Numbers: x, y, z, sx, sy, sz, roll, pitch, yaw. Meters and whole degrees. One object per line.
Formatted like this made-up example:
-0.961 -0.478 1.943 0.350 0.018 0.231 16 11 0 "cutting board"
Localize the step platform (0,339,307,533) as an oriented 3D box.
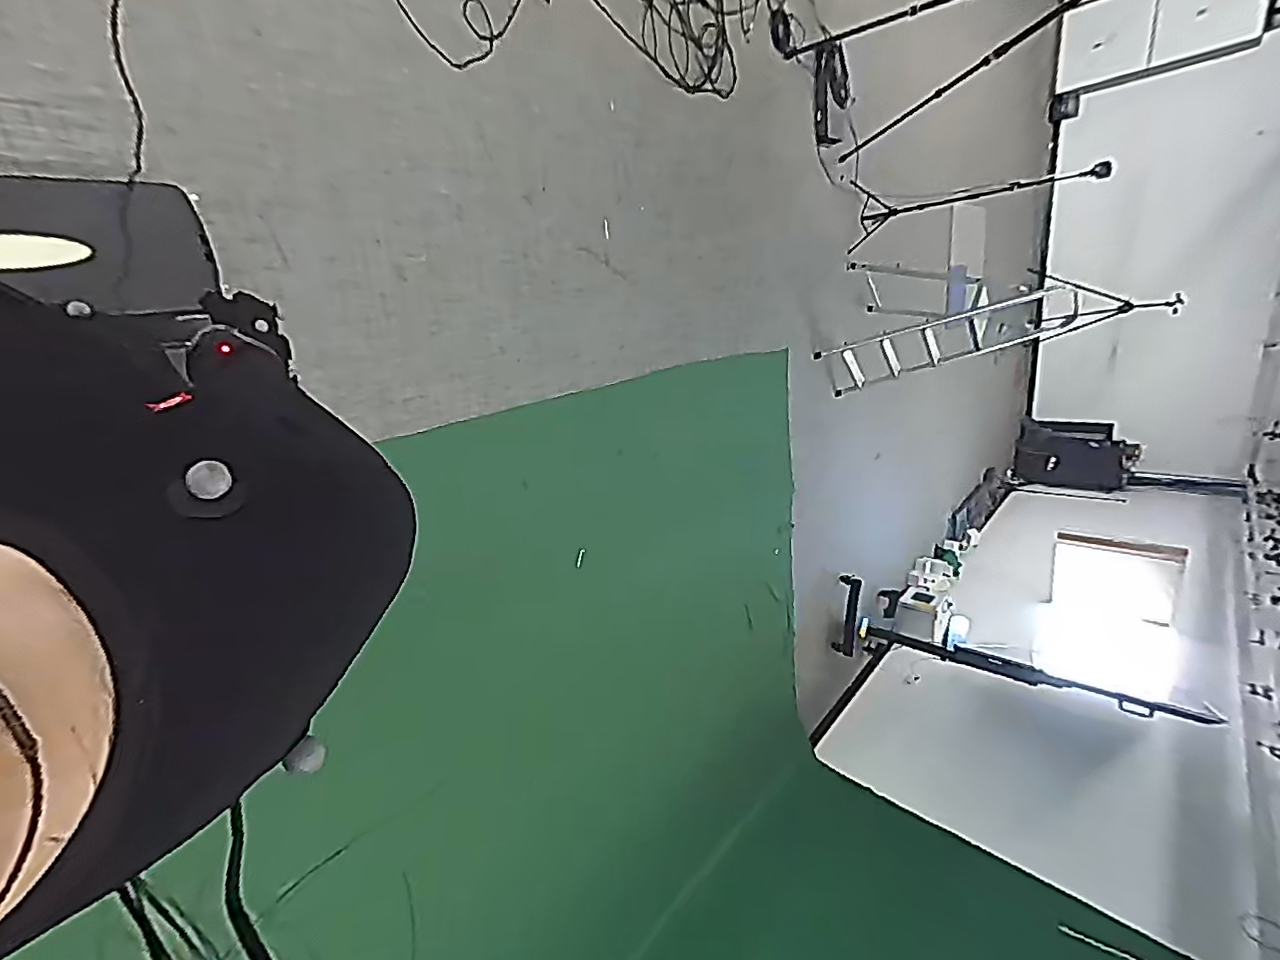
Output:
-1.029 -0.074 0.986 0.684 0.204 0.286 -24 114 -42 "step platform"
